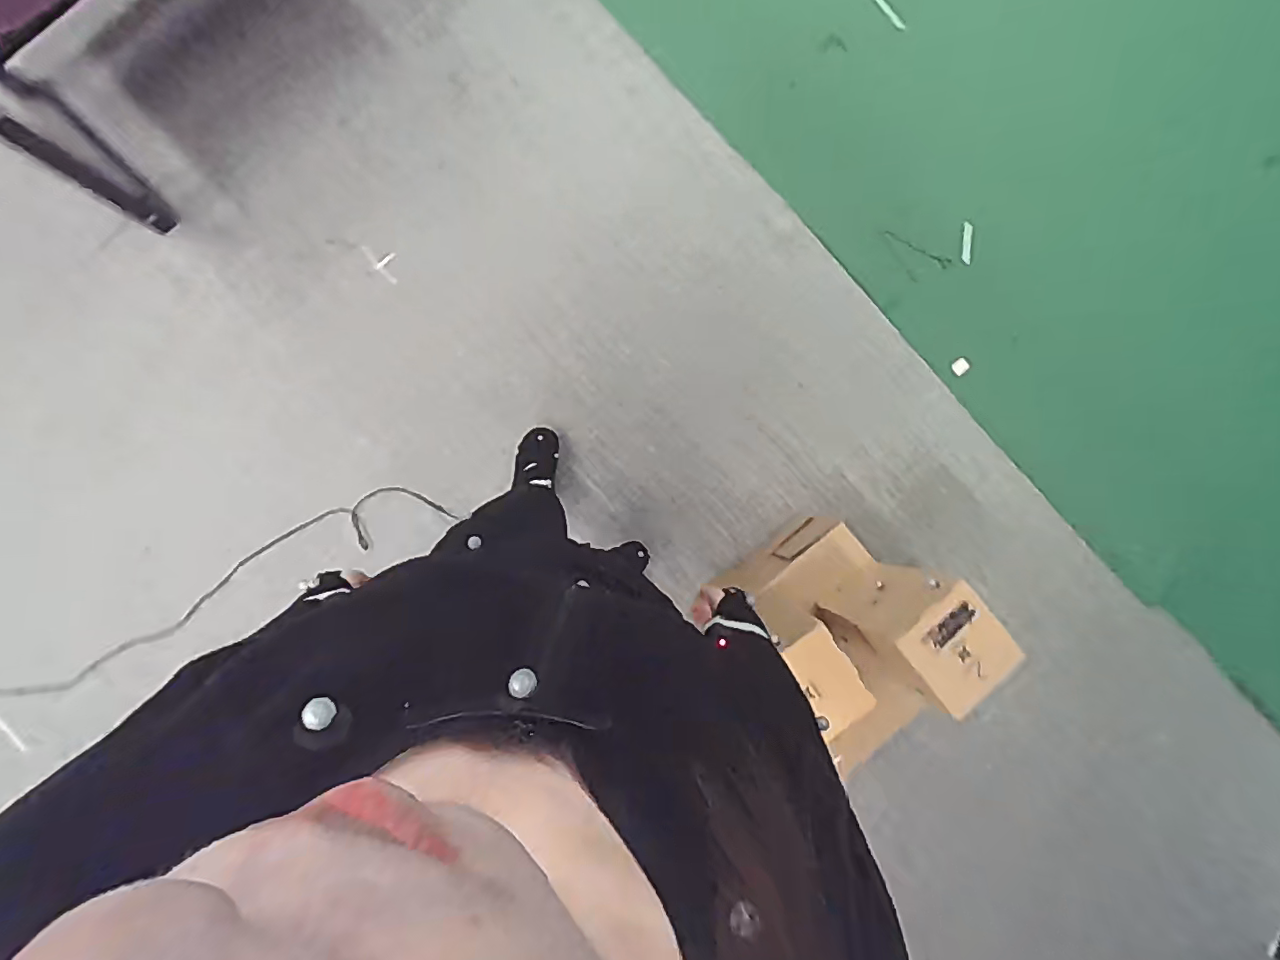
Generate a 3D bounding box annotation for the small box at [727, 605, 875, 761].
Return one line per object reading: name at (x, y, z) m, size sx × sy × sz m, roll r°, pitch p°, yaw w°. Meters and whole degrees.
small box at (0.273, 0.351, 0.970) m, size 0.179 × 0.176 × 0.168 m, roll -34°, pitch 91°, yaw -2°

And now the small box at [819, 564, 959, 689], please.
small box at (0.519, 0.300, 1.150) m, size 0.168 × 0.176 × 0.179 m, roll -35°, pitch 92°, yaw -5°

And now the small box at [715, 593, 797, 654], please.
small box at (0.277, 0.354, 1.133) m, size 0.168 × 0.176 × 0.179 m, roll -35°, pitch 92°, yaw -2°
